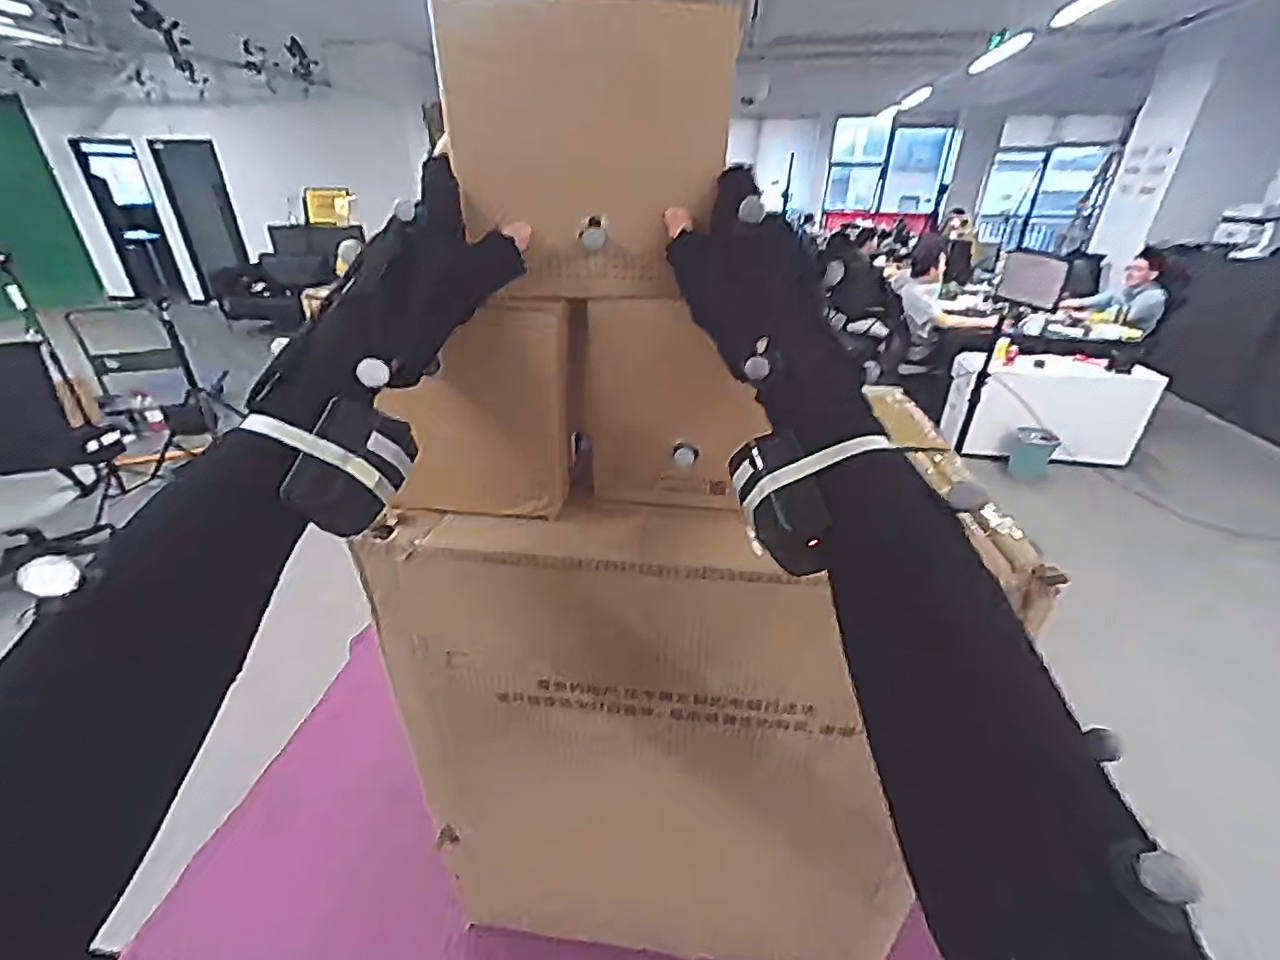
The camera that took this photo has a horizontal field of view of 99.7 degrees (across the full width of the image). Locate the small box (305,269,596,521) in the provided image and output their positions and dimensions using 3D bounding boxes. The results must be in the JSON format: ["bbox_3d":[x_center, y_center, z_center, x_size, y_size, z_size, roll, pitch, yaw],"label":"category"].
[{"bbox_3d":[-0.138,-0.079,0.466,0.179,0.176,0.168,6,29,4],"label":"small box"}]

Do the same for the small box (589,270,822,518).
[{"bbox_3d":[0.056,-0.087,0.483,0.168,0.176,0.179,4,30,9],"label":"small box"}]

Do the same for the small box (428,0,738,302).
[{"bbox_3d":[-0.037,-0.233,0.409,0.179,0.176,0.168,-1,29,-4],"label":"small box"}]
